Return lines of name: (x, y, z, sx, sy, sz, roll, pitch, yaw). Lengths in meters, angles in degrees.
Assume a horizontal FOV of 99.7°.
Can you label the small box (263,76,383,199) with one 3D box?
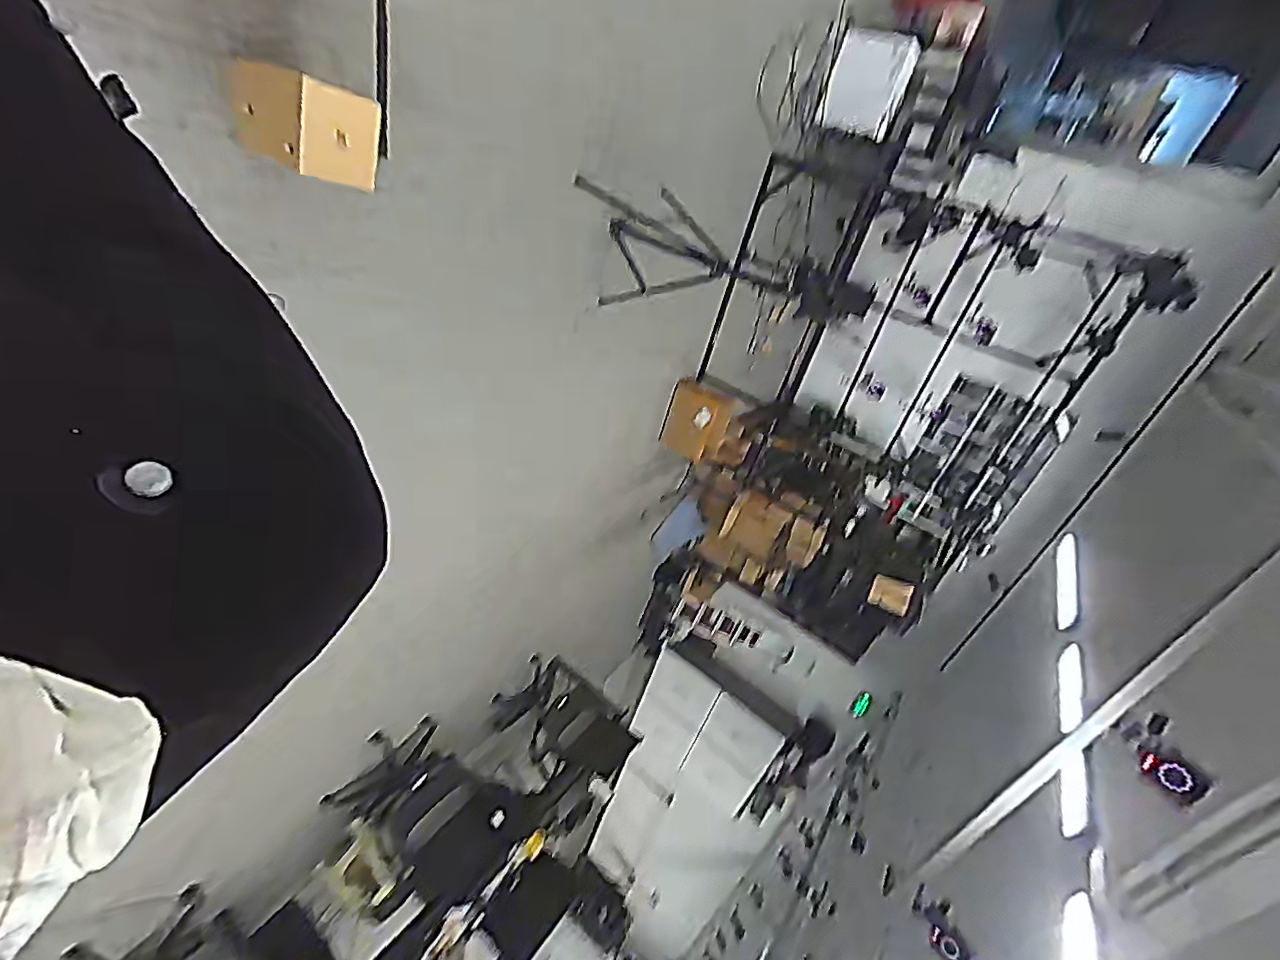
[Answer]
small box: (-0.692, -0.744, 1.178, 0.168, 0.176, 0.179, -20, 136, -54)
